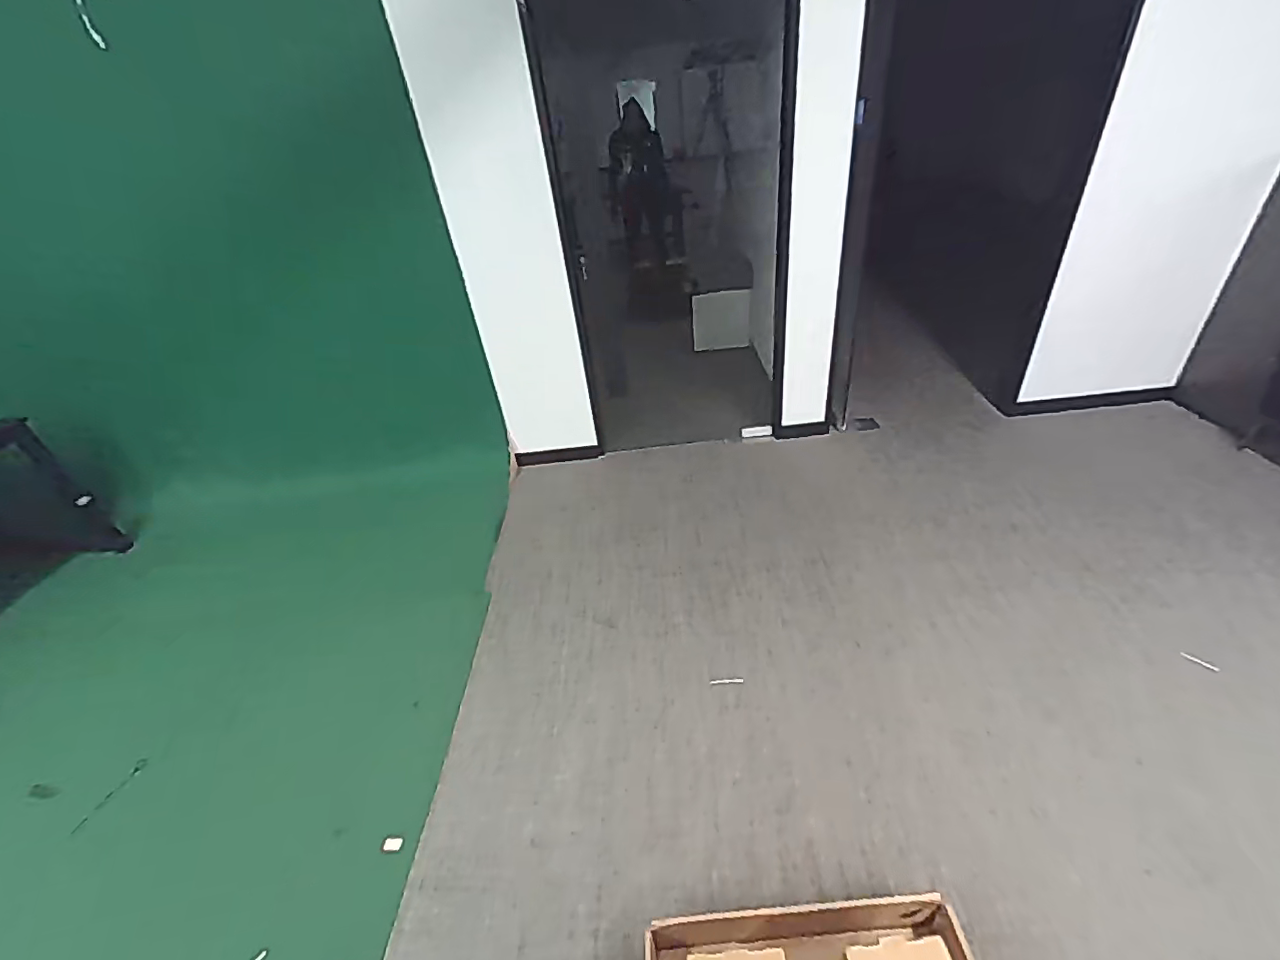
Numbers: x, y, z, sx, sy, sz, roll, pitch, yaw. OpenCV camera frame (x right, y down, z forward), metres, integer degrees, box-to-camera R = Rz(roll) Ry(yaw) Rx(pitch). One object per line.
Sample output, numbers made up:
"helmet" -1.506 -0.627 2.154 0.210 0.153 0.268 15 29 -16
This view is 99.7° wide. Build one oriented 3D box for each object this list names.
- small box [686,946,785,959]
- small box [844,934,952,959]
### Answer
"small box" 0.169 0.905 0.890 0.168 0.176 0.179 -5 37 2
"small box" 0.433 0.879 0.876 0.168 0.176 0.179 -7 35 1
